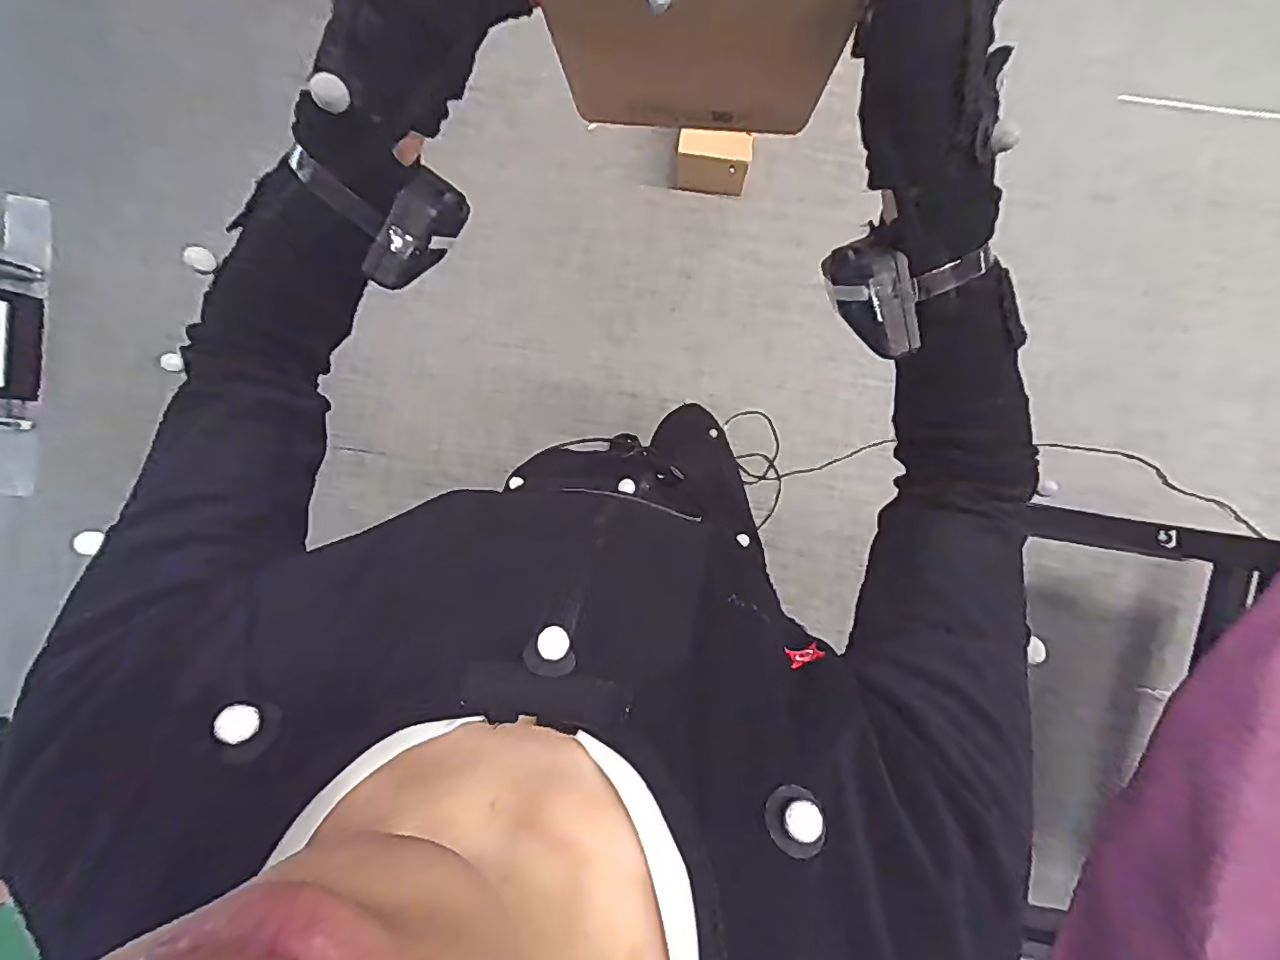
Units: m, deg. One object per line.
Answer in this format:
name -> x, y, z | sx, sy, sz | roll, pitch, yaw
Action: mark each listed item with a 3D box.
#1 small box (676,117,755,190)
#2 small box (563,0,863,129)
small box -> 0.188, -0.850, 1.343 | 0.179, 0.176, 0.168 | 9, 93, 1
small box -> 0.043, -0.337, 0.302 | 0.168, 0.176, 0.179 | 6, 98, 3
